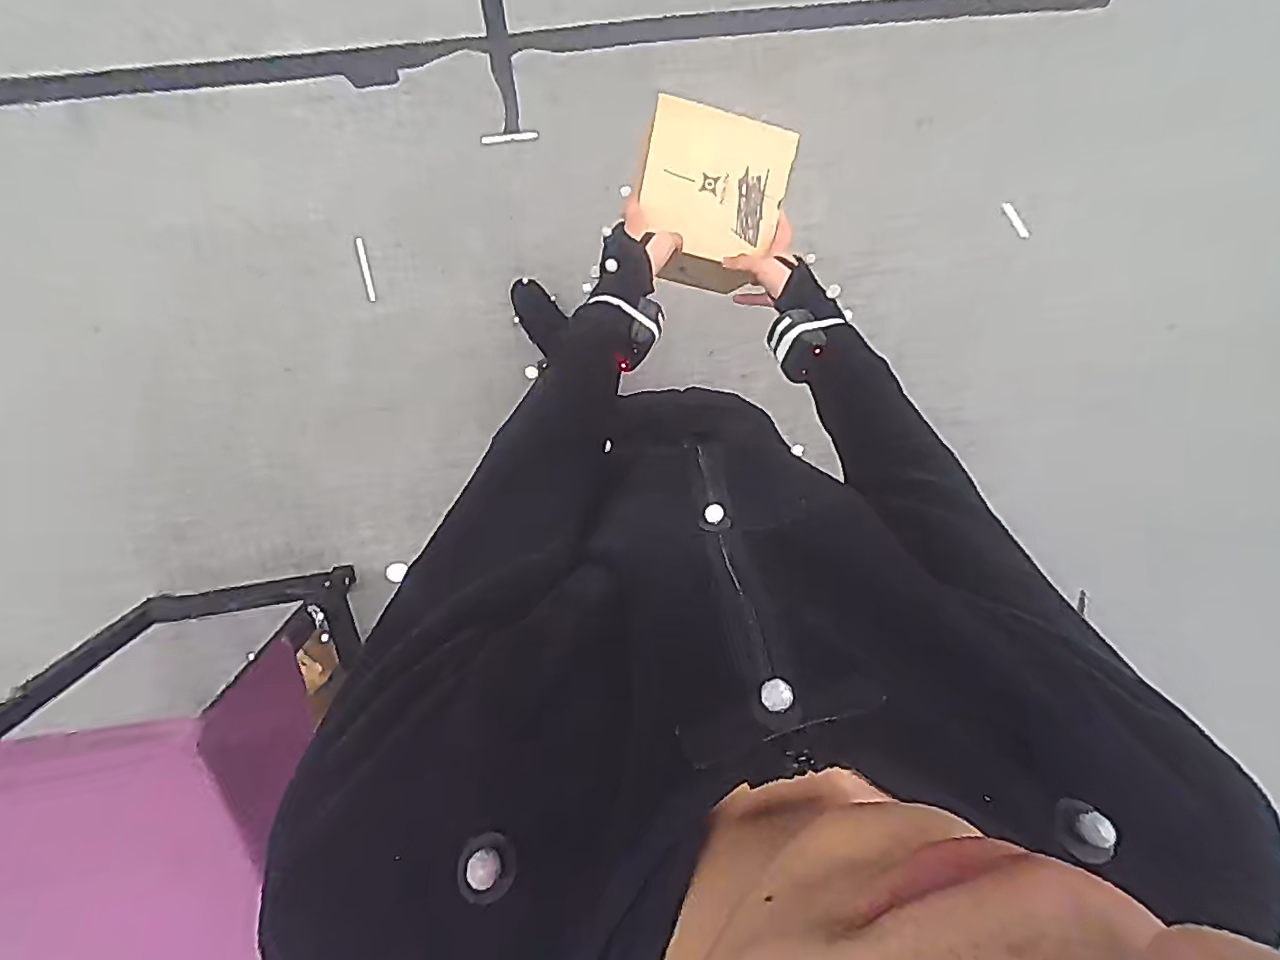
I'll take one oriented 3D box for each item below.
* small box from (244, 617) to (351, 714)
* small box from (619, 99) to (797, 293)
[{"bbox_3d":[-1.002,0.544,1.603,0.179,0.176,0.168,-36,108,5],"label":"small box"},{"bbox_3d":[0.078,-0.360,0.725,0.179,0.176,0.168,11,98,-9],"label":"small box"}]
